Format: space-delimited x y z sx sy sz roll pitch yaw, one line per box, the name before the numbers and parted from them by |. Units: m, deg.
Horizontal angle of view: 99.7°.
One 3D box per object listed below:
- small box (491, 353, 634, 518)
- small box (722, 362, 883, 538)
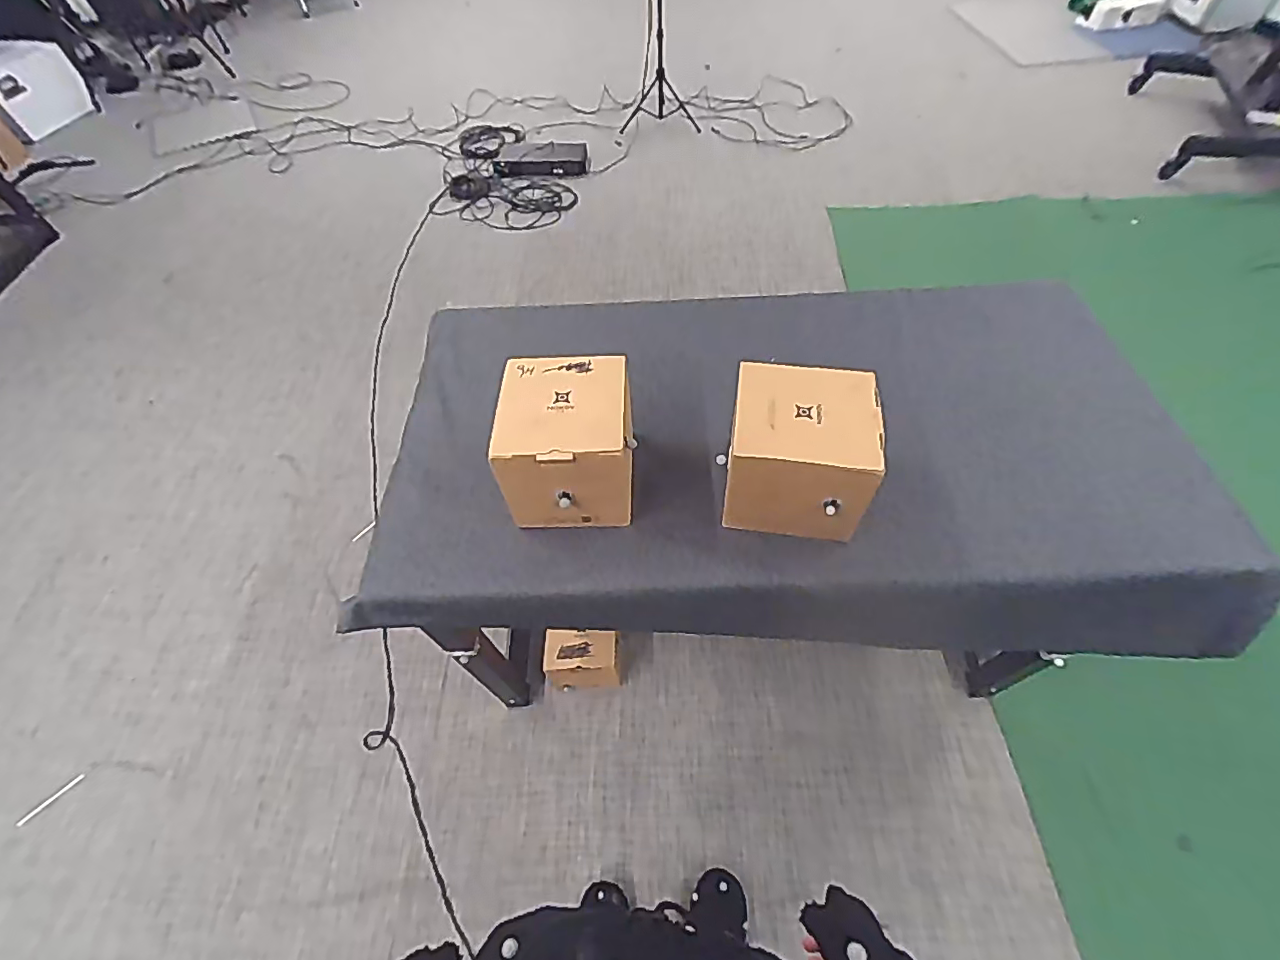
small box | -0.095 -0.057 0.765 0.168 0.176 0.179 0 56 2
small box | 0.212 -0.036 0.740 0.179 0.176 0.168 7 55 8
